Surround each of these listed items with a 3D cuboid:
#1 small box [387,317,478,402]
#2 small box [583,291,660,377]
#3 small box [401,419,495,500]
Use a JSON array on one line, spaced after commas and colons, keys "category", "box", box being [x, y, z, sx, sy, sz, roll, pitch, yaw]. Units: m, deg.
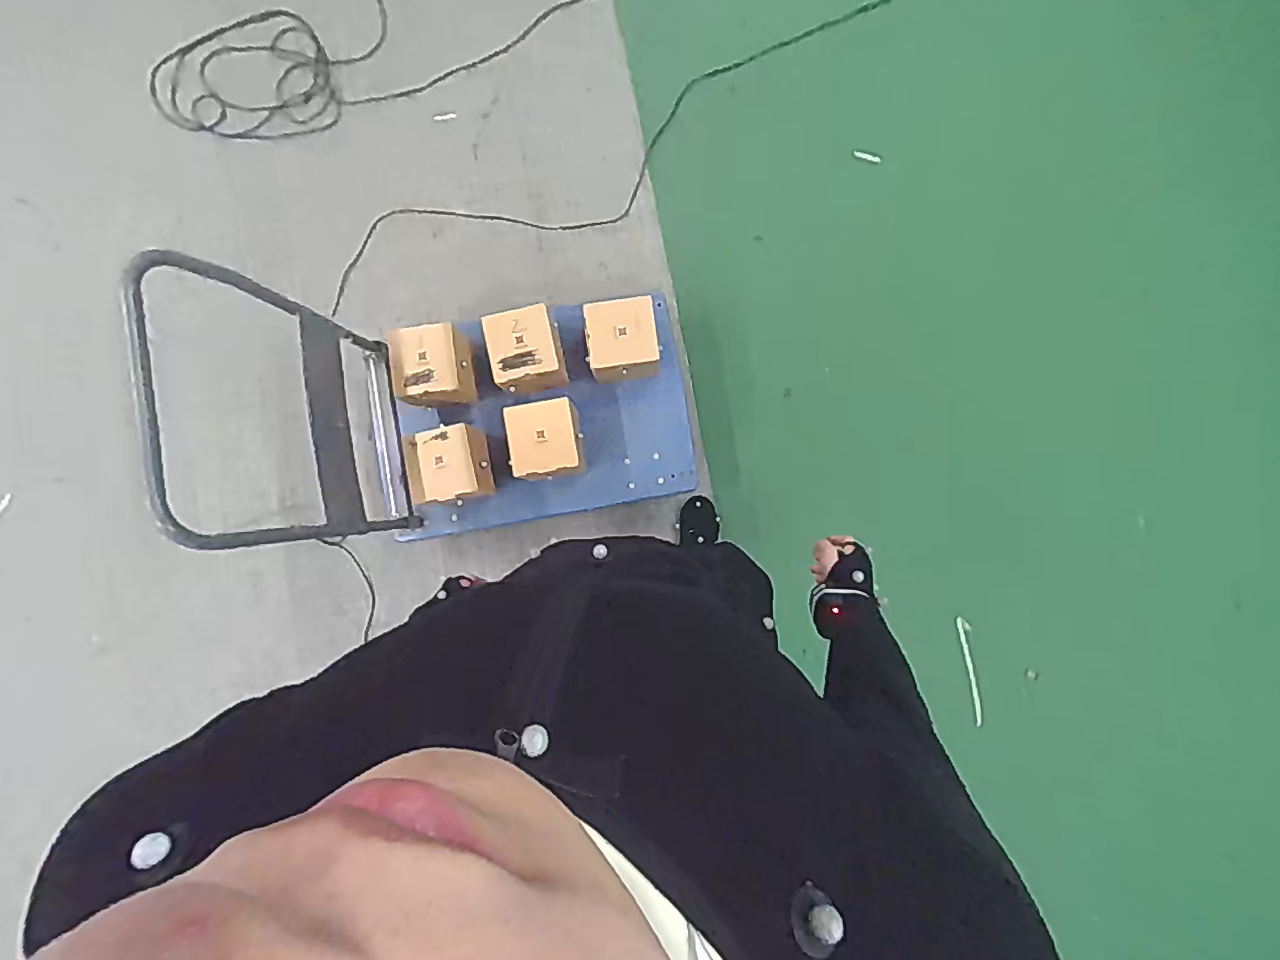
[{"category": "small box", "box": [-0.536, -0.307, 1.417, 0.168, 0.176, 0.179, -8, 87, 0]}, {"category": "small box", "box": [-0.043, -0.373, 1.412, 0.179, 0.176, 0.168, -7, 88, 1]}, {"category": "small box", "box": [-0.489, -0.049, 1.404, 0.168, 0.176, 0.179, -12, 88, 0]}]
